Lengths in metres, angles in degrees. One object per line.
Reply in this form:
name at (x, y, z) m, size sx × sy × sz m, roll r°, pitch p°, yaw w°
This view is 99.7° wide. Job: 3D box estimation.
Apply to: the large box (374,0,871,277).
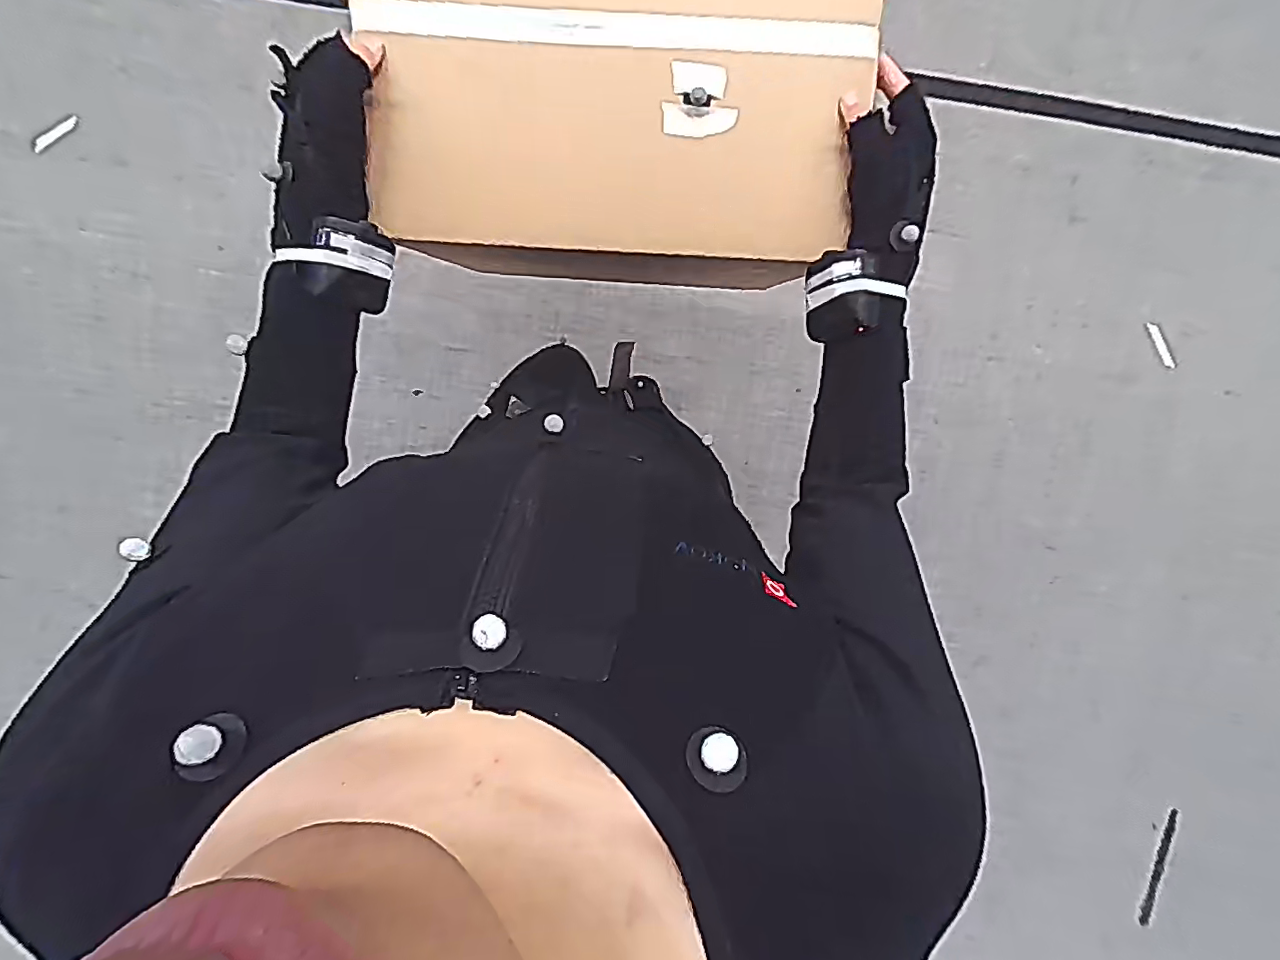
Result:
large box at (-0.018, -0.399, 0.579) m, size 0.408 × 0.320 × 0.320 m, roll 2°, pitch 106°, yaw -1°
